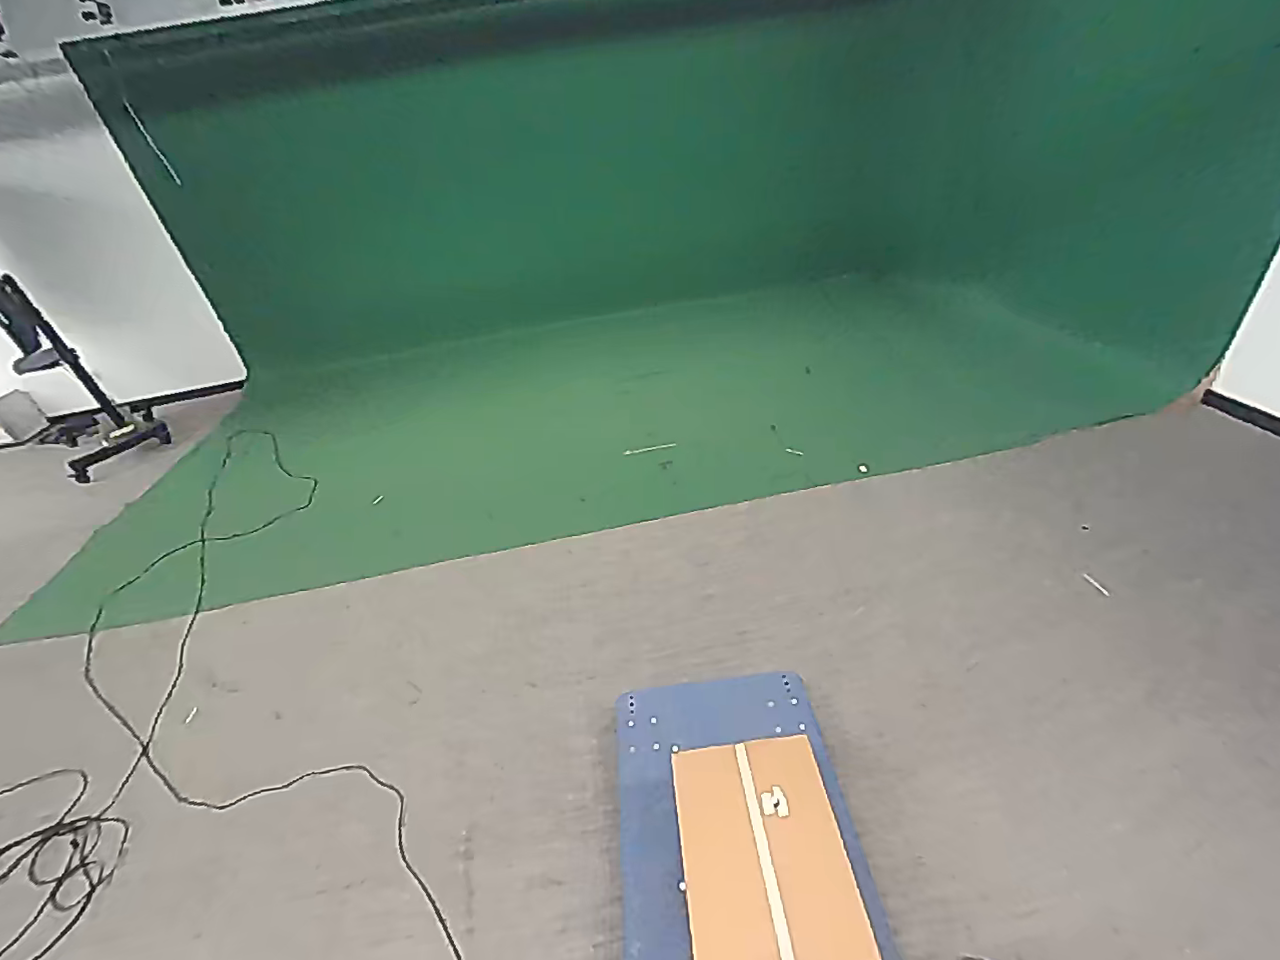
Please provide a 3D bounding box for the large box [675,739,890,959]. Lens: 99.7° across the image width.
[{"bbox_3d":[0.267,0.833,1.125,0.320,0.320,0.408,-8,33,1],"label":"large box"}]
